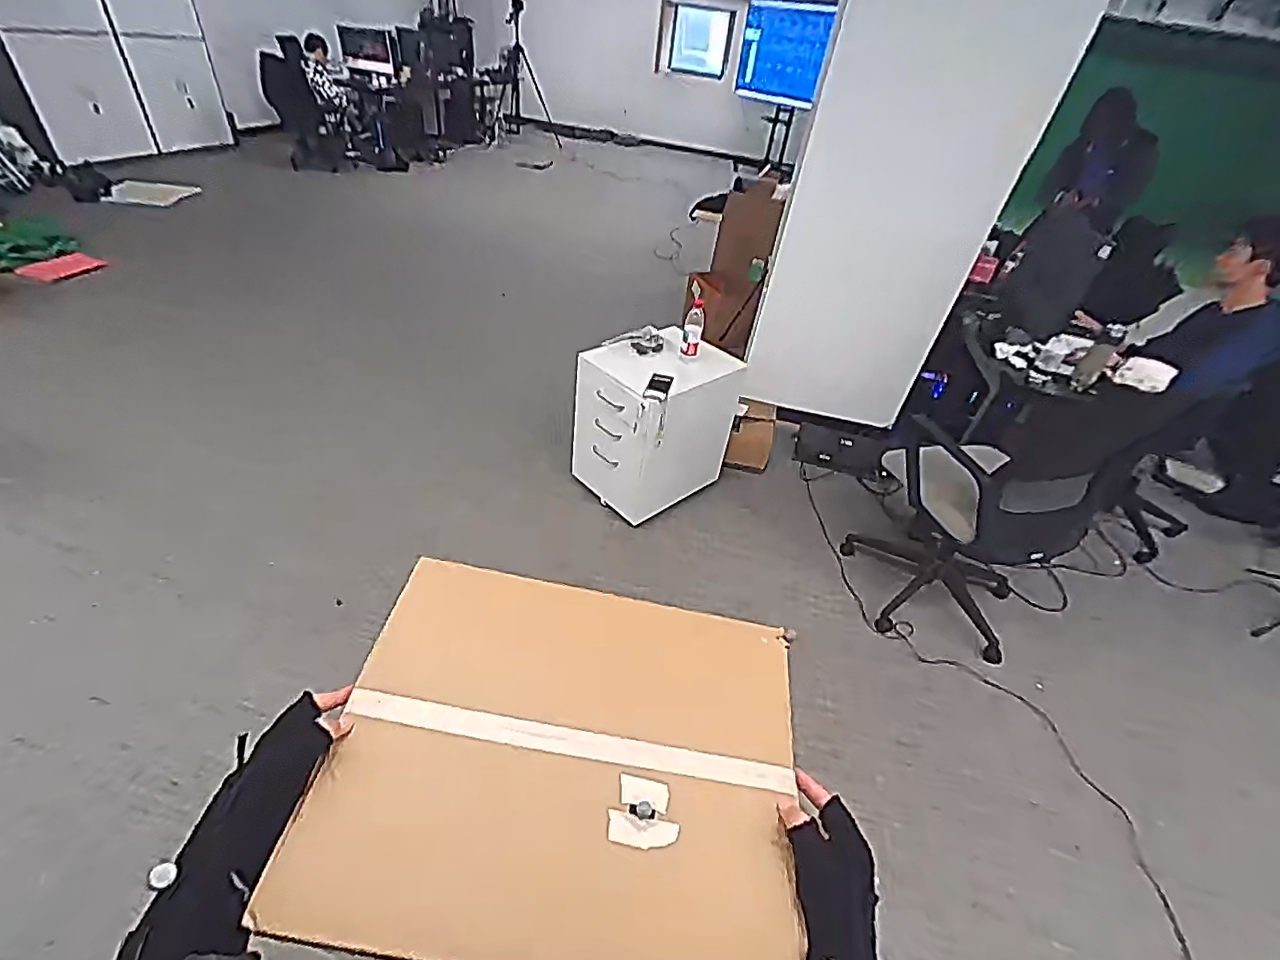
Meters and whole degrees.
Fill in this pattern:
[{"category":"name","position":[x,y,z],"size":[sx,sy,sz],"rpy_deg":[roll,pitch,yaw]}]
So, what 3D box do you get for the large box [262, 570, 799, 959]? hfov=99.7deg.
[{"category":"large box","position":[-0.085,0.343,0.598],"size":[0.408,0.320,0.320],"rpy_deg":[12,47,-2]}]
